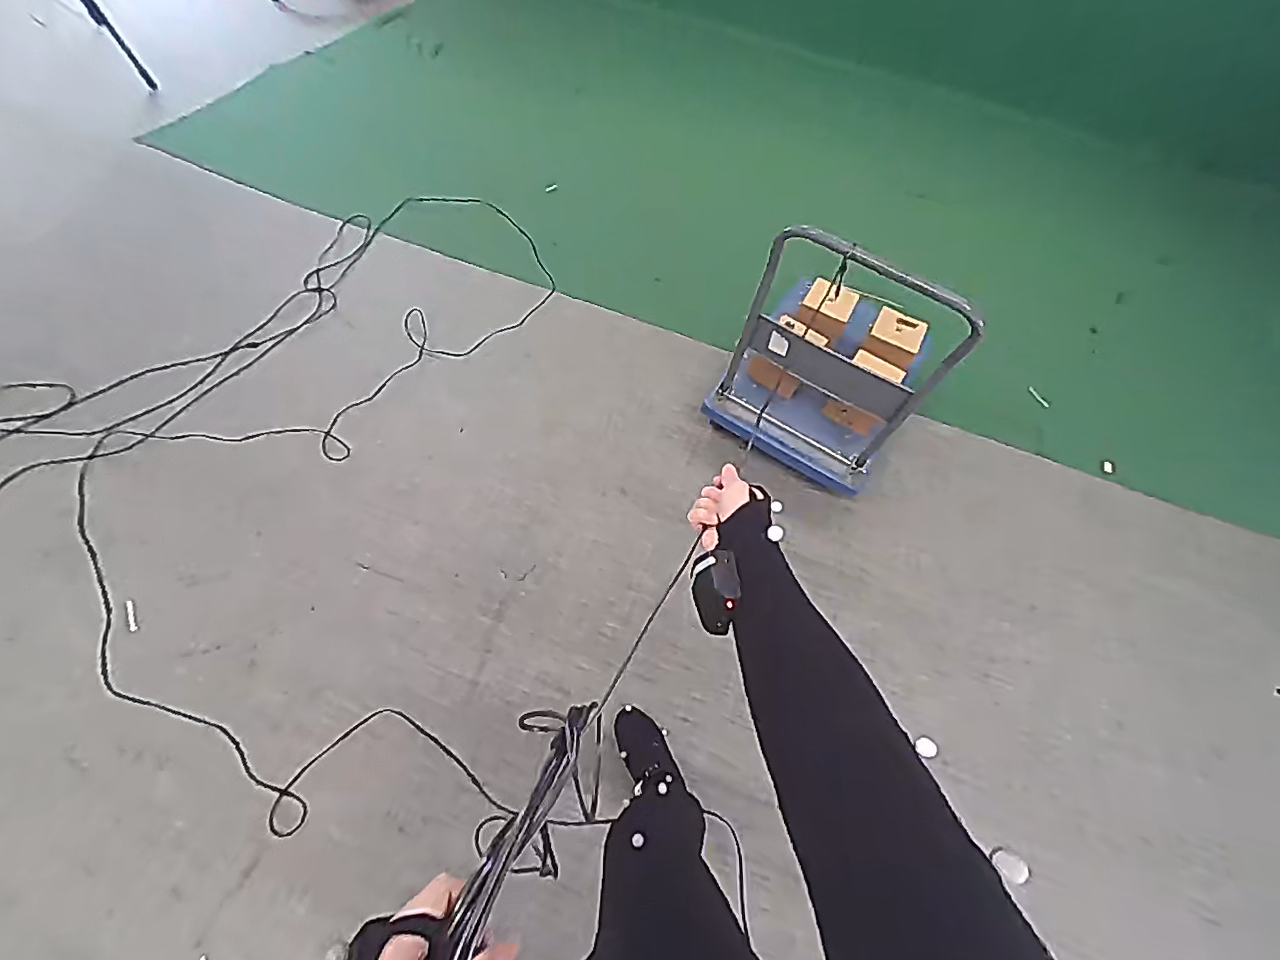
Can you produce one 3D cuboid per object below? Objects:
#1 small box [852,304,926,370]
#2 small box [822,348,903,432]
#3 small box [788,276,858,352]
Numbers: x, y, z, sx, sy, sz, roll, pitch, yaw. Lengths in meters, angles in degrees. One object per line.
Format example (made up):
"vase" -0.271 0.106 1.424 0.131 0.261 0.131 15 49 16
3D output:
"small box" 0.873 -0.480 1.915 0.168 0.176 0.179 28 60 11
"small box" 0.727 -0.294 1.783 0.168 0.176 0.179 32 60 12
"small box" 0.654 -0.596 1.958 0.168 0.176 0.179 29 59 9
